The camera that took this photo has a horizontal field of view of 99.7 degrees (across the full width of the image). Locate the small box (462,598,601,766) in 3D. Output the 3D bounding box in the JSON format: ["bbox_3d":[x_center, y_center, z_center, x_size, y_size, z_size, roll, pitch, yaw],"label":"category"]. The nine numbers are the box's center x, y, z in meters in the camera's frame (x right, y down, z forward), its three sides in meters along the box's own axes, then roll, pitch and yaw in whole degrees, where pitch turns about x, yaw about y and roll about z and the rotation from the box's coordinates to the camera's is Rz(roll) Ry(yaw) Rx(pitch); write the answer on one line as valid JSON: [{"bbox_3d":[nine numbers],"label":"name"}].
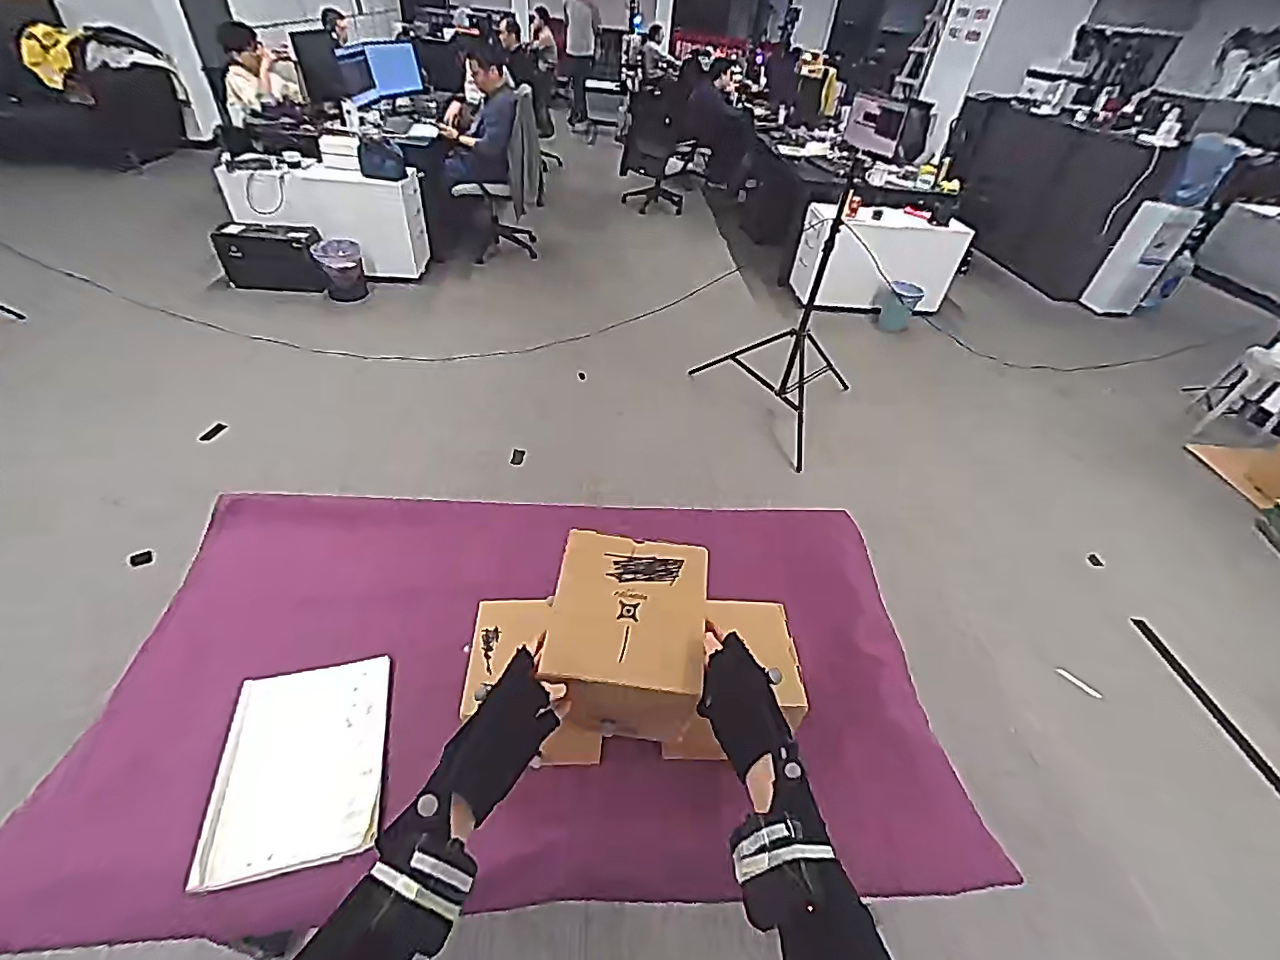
[{"bbox_3d":[-0.139,0.286,0.763,0.179,0.176,0.168,2,41,-6],"label":"small box"}]

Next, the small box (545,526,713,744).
[{"bbox_3d":[-0.013,0.184,0.642,0.168,0.176,0.179,9,45,0],"label":"small box"}]

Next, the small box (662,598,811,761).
[{"bbox_3d":[0.125,0.293,0.793,0.179,0.176,0.168,2,39,-3],"label":"small box"}]
